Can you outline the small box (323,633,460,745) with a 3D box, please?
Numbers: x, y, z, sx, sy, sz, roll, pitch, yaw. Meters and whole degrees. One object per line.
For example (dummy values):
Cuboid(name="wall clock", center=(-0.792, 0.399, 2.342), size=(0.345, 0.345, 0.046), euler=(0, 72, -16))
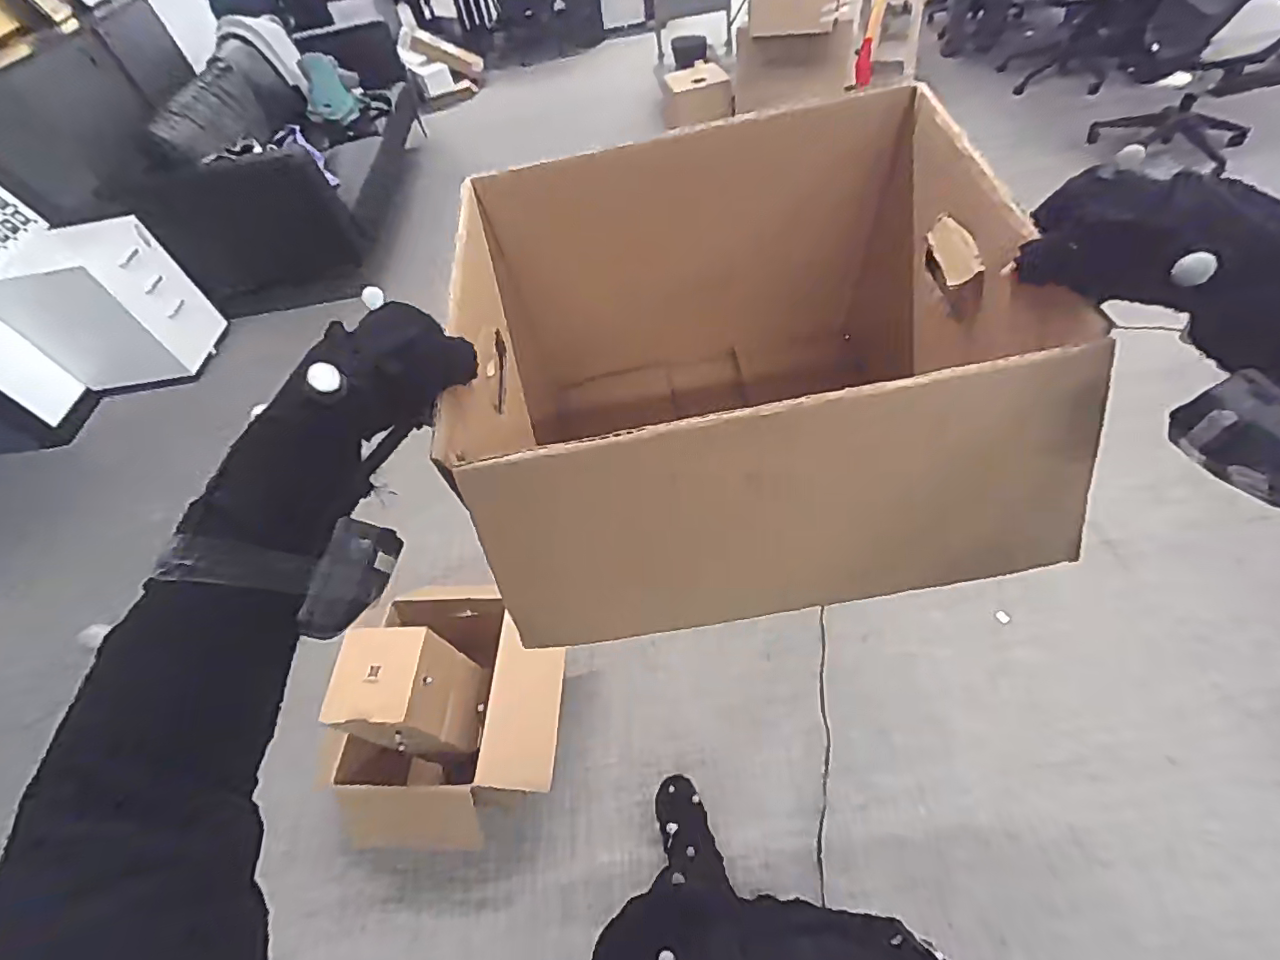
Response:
Cuboid(name="small box", center=(-0.473, 0.416, 1.063), size=(0.168, 0.176, 0.179), euler=(-4, 54, 5))
